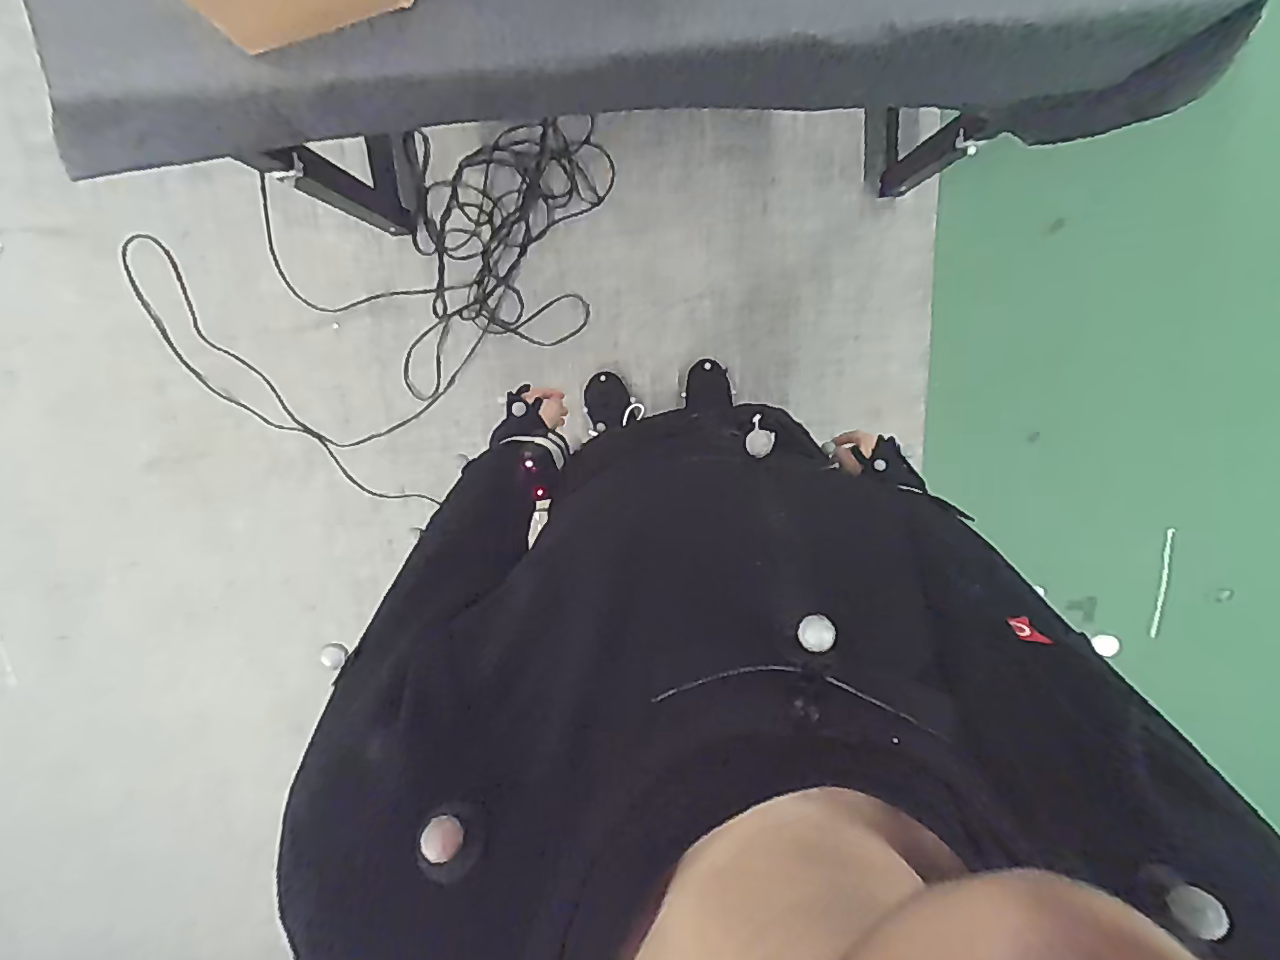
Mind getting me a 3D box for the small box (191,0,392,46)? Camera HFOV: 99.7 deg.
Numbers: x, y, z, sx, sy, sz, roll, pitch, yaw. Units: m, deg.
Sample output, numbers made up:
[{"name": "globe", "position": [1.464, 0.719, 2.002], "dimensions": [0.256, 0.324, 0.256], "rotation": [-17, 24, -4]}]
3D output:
[{"name": "small box", "position": [-0.318, -0.501, 0.432], "dimensions": [0.179, 0.176, 0.168], "rotation": [-14, 101, 3]}]
